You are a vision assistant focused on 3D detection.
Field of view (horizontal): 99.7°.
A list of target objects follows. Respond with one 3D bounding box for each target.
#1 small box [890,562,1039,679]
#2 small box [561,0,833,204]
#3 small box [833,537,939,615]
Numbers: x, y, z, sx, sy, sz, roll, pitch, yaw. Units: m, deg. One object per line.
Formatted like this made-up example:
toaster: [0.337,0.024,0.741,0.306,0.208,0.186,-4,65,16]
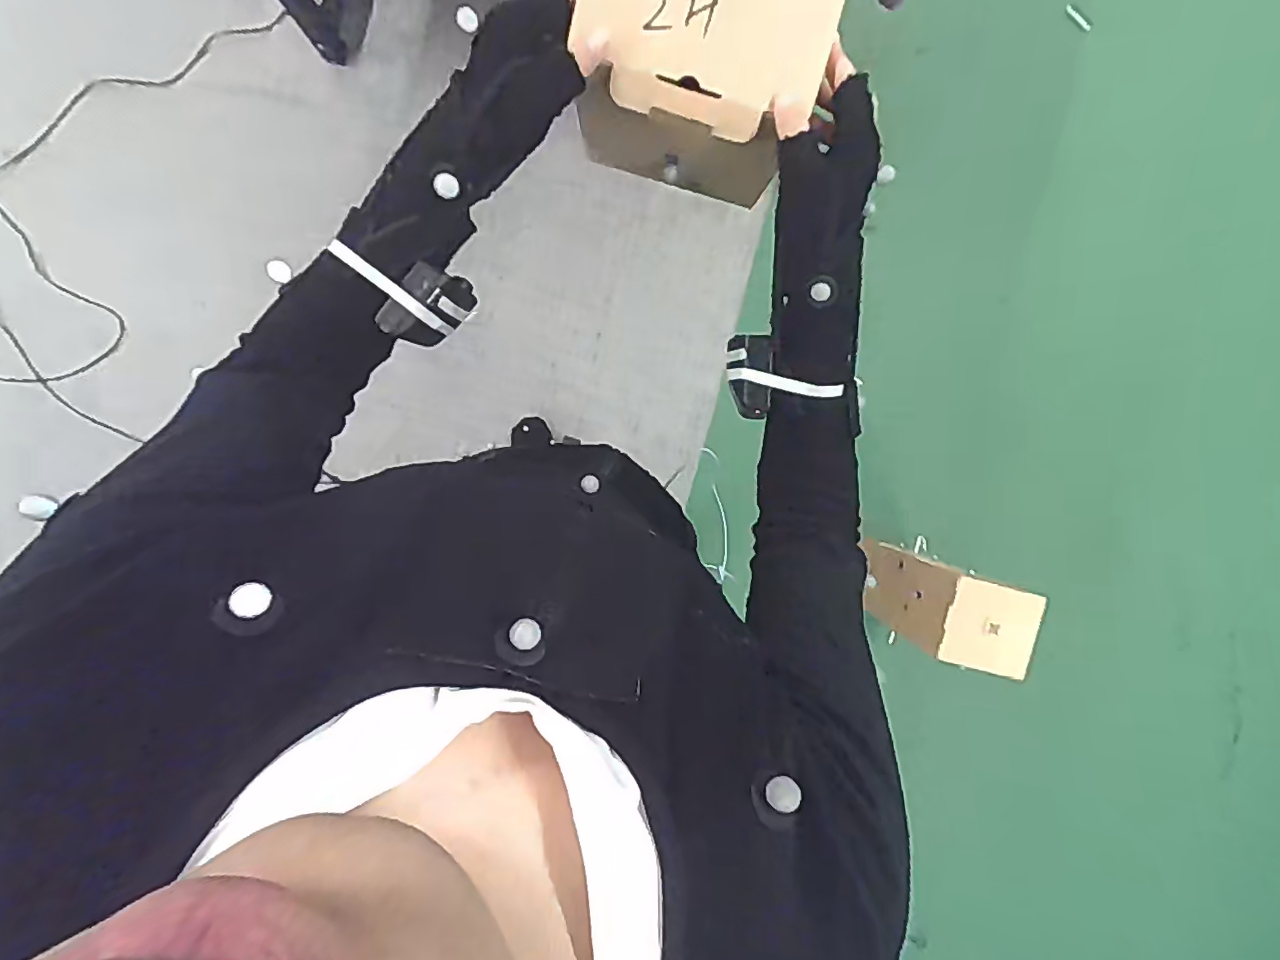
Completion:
small box: [0.650,0.278,1.104,0.179,0.176,0.168,15,93,-2]
small box: [0.046,-0.351,0.421,0.168,0.176,0.179,15,99,-4]
small box: [0.640,0.256,1.431,0.179,0.176,0.168,17,93,-3]
